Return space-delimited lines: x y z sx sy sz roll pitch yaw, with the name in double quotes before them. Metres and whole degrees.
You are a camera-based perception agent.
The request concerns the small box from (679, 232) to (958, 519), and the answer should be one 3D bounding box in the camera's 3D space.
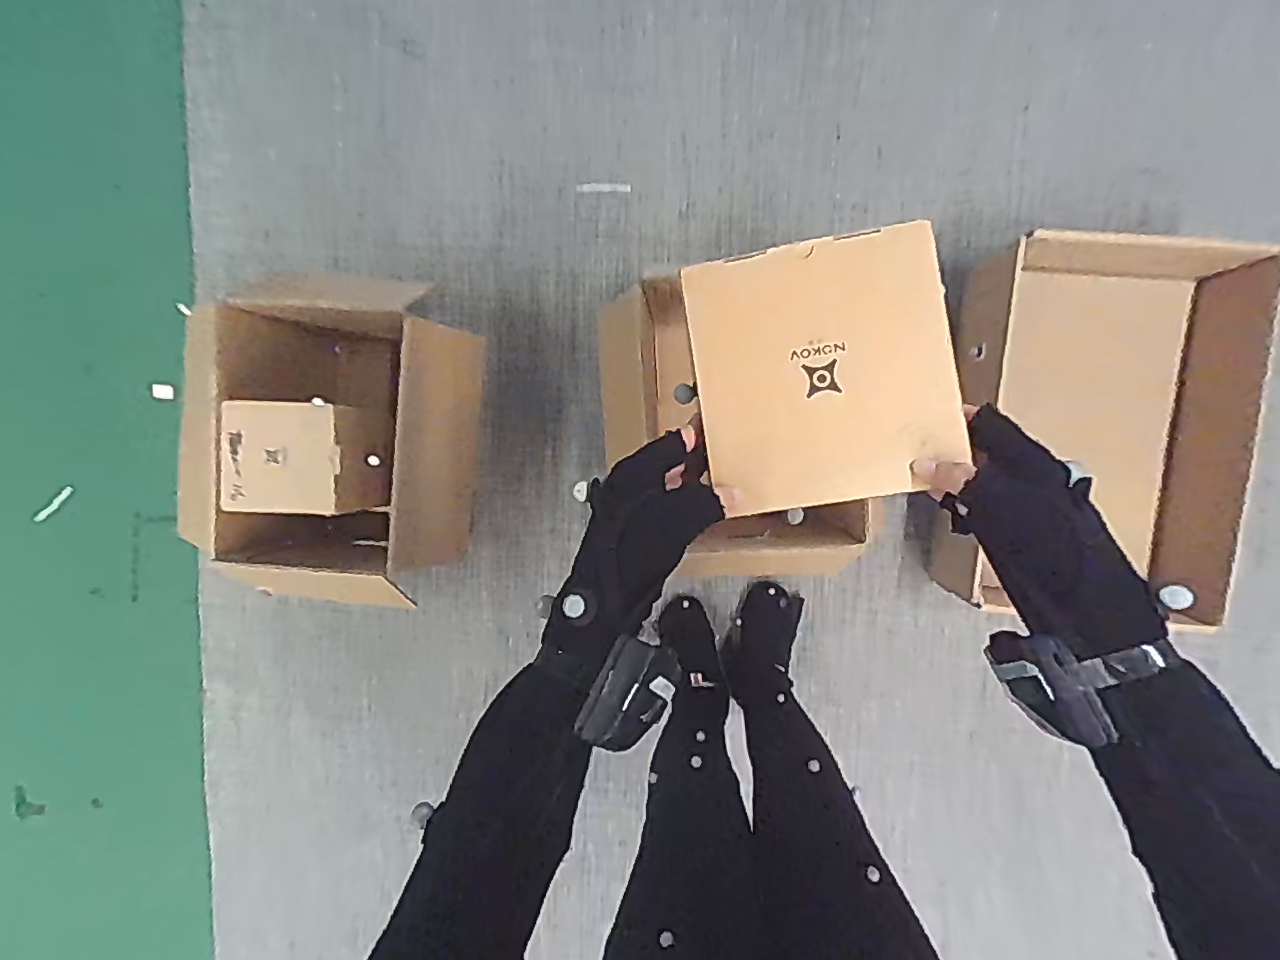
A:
"small box" 0.128 -0.068 0.445 0.168 0.176 0.179 -8 87 7
